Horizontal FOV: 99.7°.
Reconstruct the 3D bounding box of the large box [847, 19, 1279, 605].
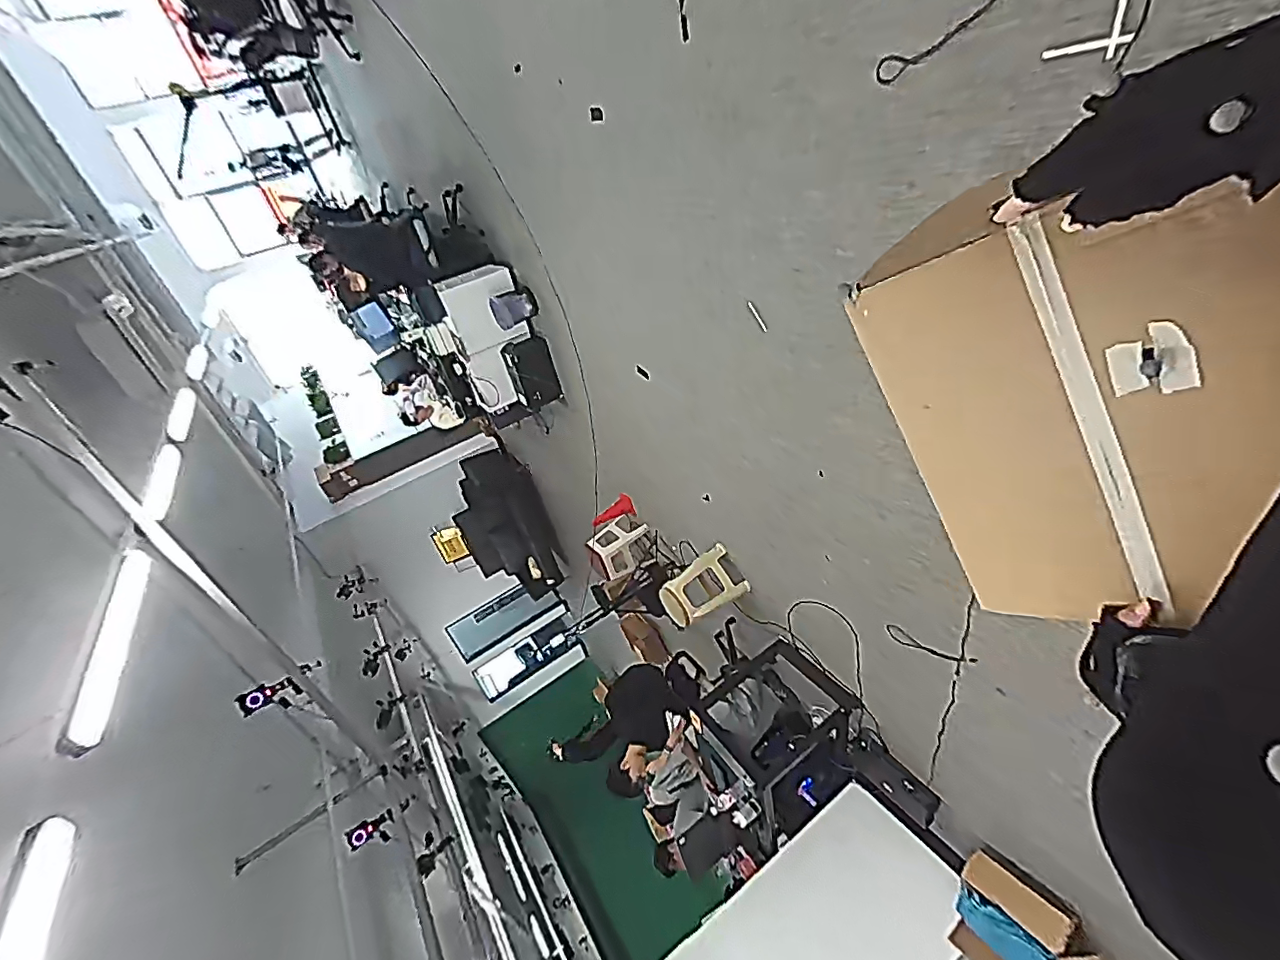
[{"bbox_3d":[0.486,-0.136,0.529,0.320,0.320,0.408,-12,114,54],"label":"large box"}]
